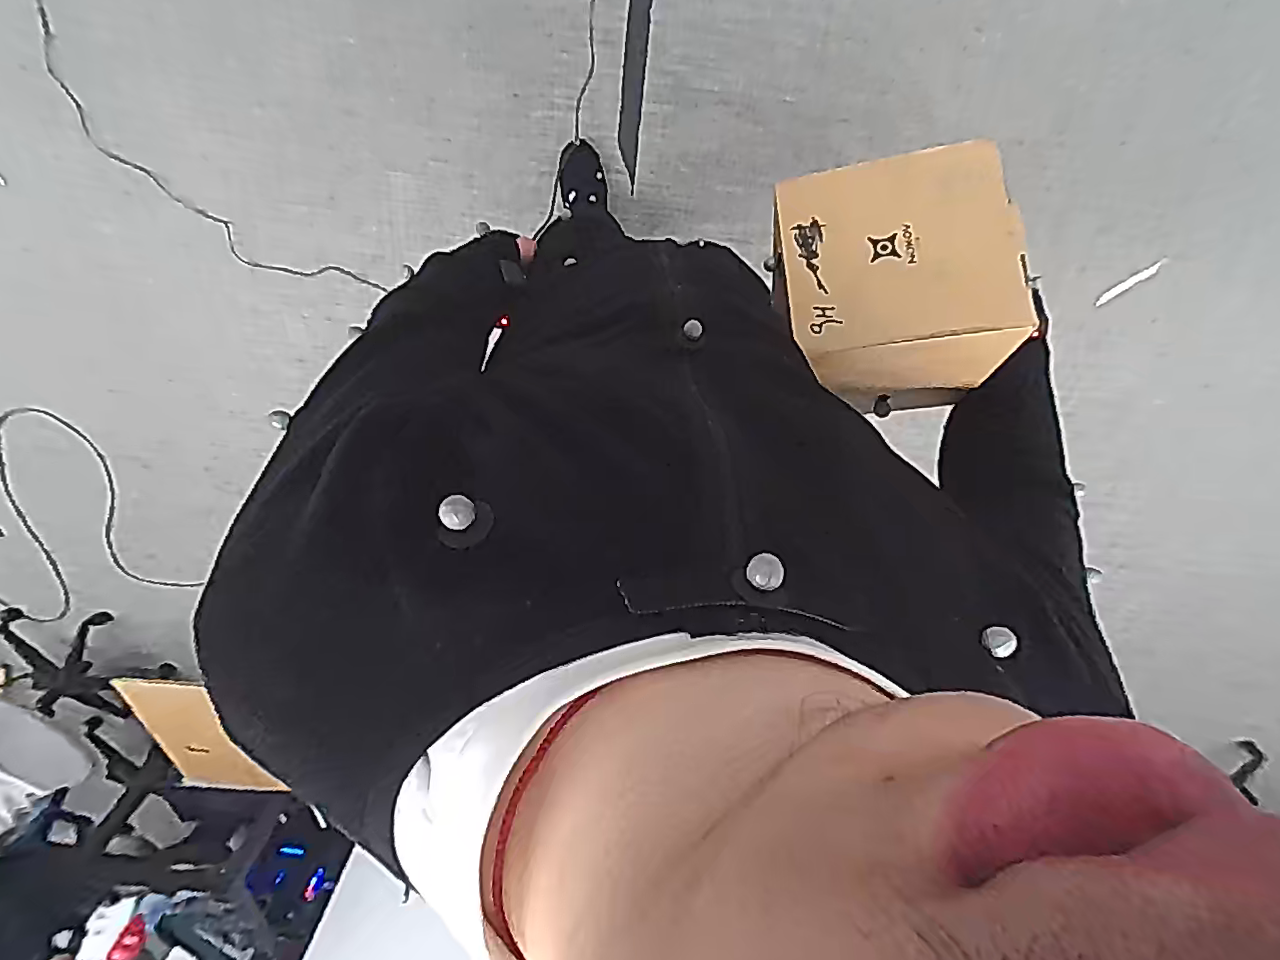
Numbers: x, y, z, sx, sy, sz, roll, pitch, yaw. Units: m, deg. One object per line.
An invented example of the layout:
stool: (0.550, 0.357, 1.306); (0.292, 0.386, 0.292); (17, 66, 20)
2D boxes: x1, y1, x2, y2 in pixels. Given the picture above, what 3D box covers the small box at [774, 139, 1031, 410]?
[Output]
small box: (0.226, -0.177, 0.519); (0.179, 0.176, 0.168); (-5, 76, 12)
